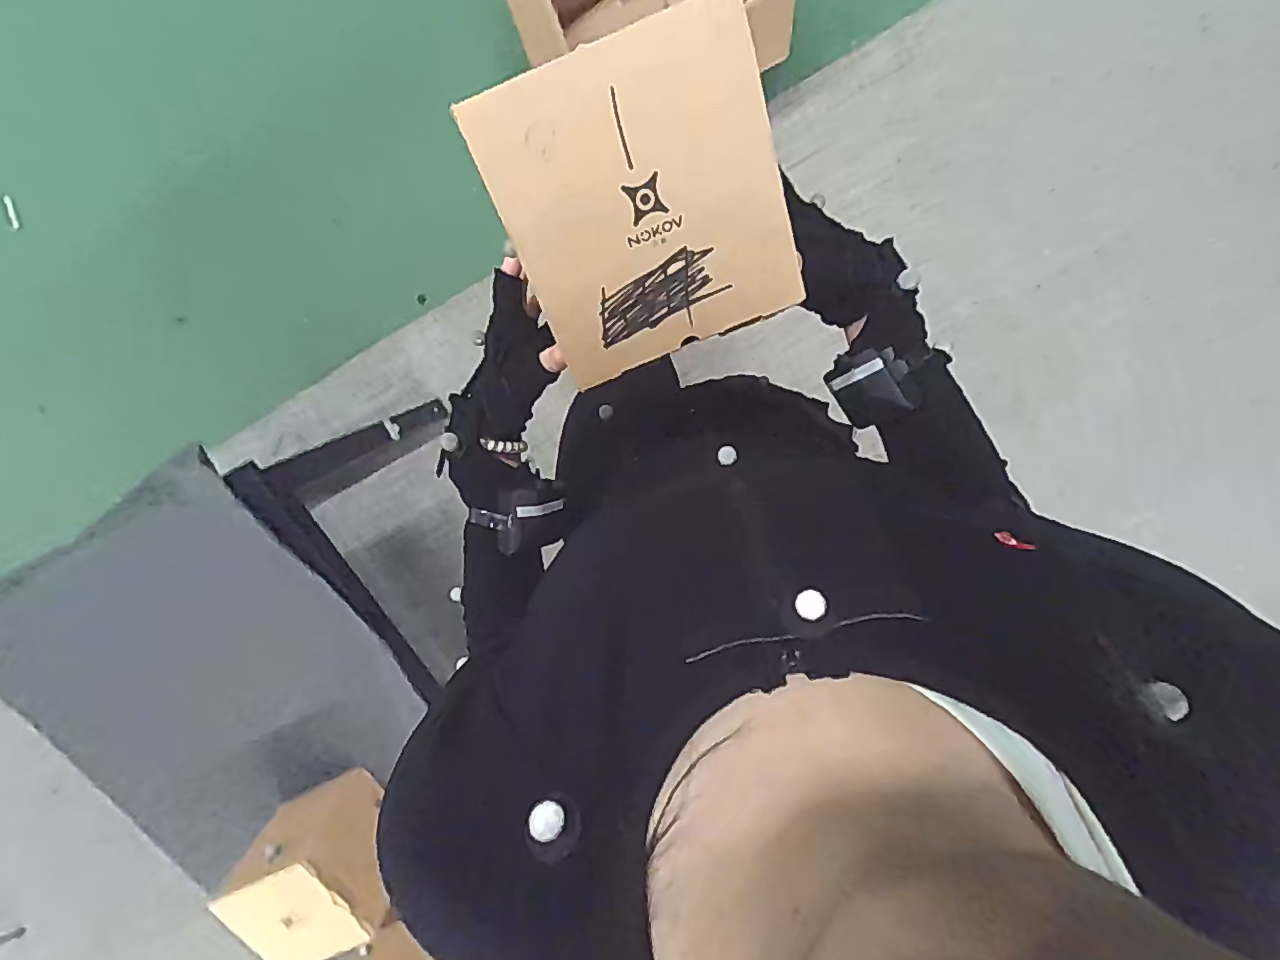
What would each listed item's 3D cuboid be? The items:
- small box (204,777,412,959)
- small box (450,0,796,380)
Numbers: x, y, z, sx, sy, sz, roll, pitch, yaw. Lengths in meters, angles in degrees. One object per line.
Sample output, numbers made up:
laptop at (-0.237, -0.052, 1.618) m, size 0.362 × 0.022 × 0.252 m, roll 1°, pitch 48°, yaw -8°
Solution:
small box at (-0.494, 0.607, 0.833) m, size 0.179 × 0.176 × 0.168 m, roll -29°, pitch 103°, yaw 8°
small box at (-0.008, -0.202, 0.392) m, size 0.168 × 0.176 × 0.179 m, roll -21°, pitch 119°, yaw 3°
